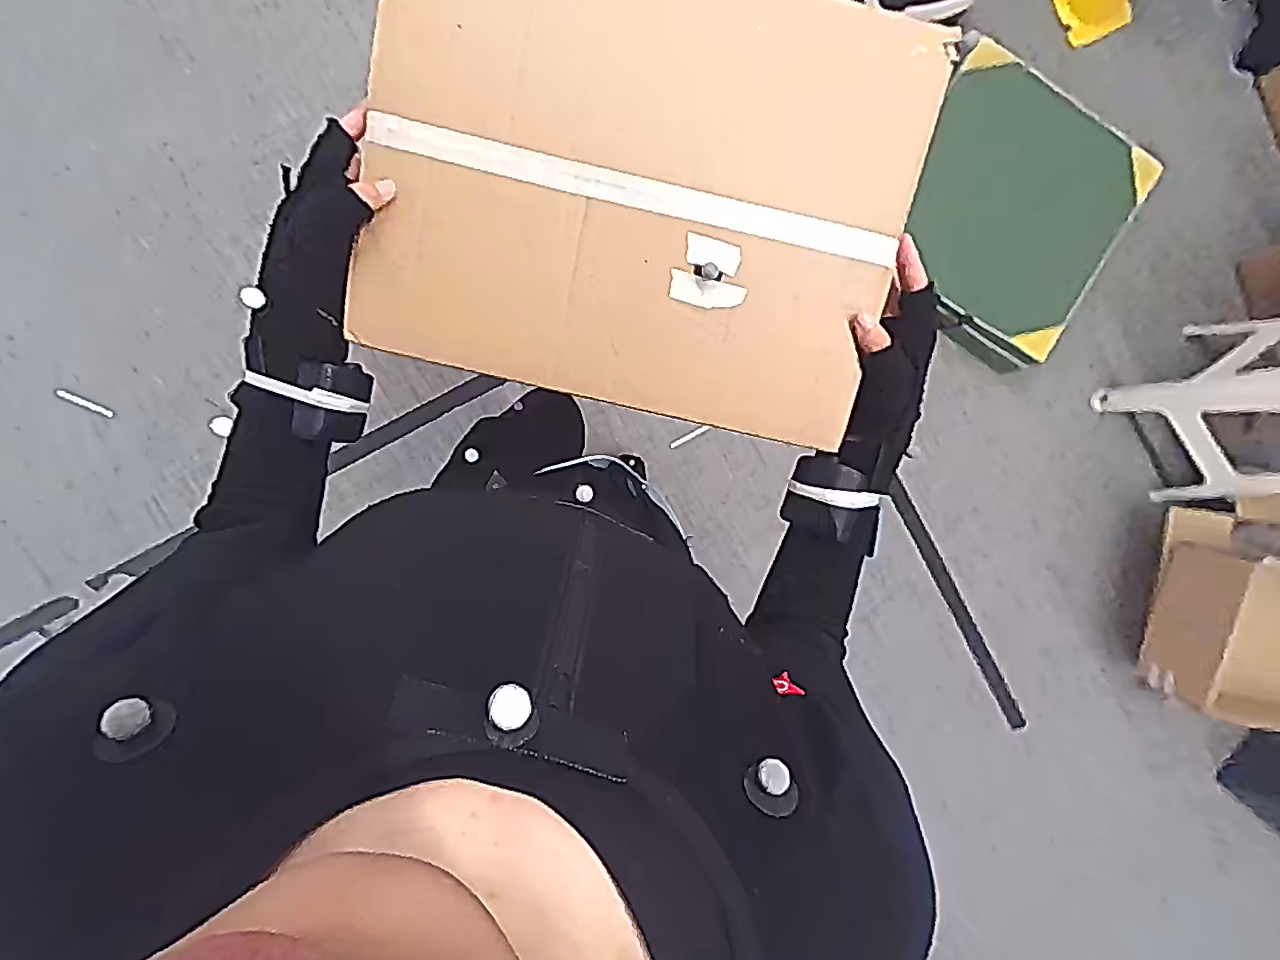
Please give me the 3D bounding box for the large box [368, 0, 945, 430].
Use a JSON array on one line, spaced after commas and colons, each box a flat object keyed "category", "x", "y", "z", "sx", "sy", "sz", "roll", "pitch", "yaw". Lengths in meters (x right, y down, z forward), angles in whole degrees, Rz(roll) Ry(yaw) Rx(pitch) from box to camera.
[{"category": "large box", "x": 0.000, "y": -0.255, "z": 0.563, "sx": 0.408, "sy": 0.320, "sz": 0.320, "roll": 12, "pitch": 102, "yaw": -3}]
